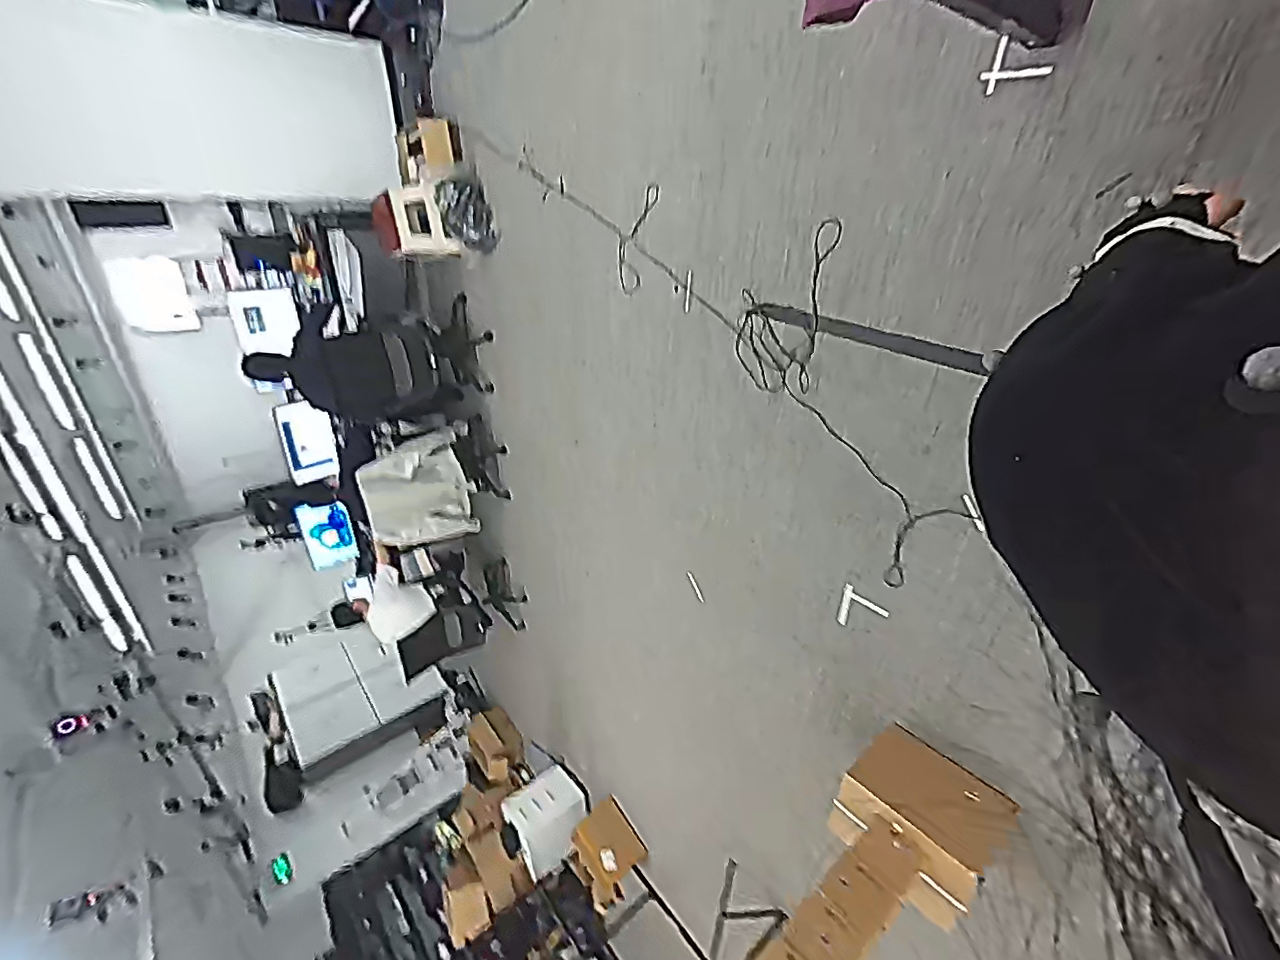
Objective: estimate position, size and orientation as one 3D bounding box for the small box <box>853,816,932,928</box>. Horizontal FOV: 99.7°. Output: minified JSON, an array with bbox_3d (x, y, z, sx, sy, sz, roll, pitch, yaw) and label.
[{"bbox_3d":[0.734,1.155,1.600,0.168,0.176,0.179,28,127,42],"label":"small box"}]

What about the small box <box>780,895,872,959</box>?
[{"bbox_3d":[0.484,1.248,1.411,0.168,0.176,0.179,23,124,47],"label":"small box"}]

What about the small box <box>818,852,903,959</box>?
[{"bbox_3d":[0.607,1.196,1.507,0.168,0.176,0.179,27,128,44],"label":"small box"}]
